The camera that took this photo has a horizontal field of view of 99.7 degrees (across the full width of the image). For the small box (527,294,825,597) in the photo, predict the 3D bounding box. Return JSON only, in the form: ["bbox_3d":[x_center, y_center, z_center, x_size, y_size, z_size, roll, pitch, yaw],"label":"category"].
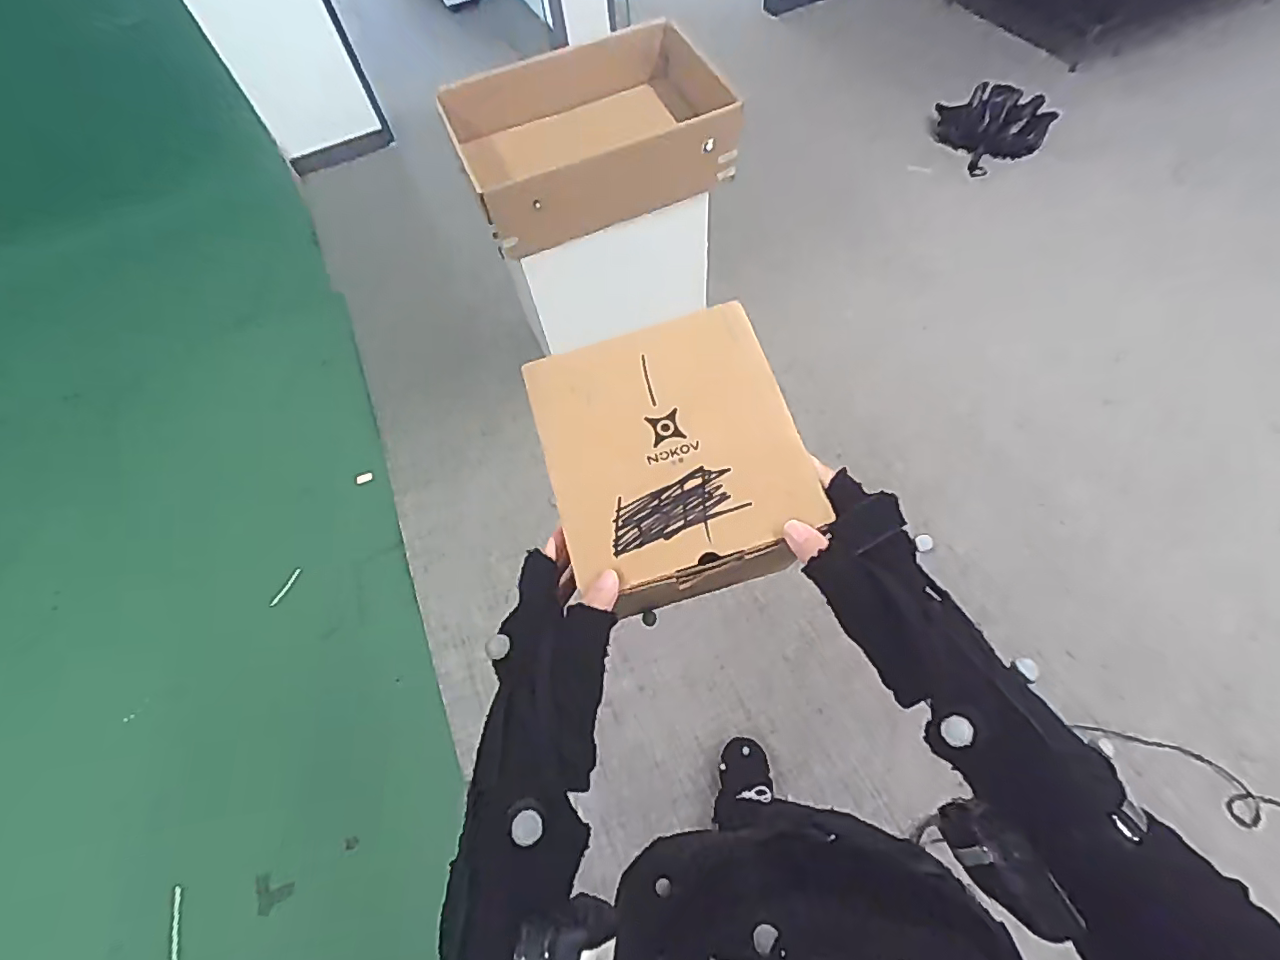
[{"bbox_3d":[0.025,-0.010,0.439,0.168,0.176,0.179,-17,71,-1],"label":"small box"}]
